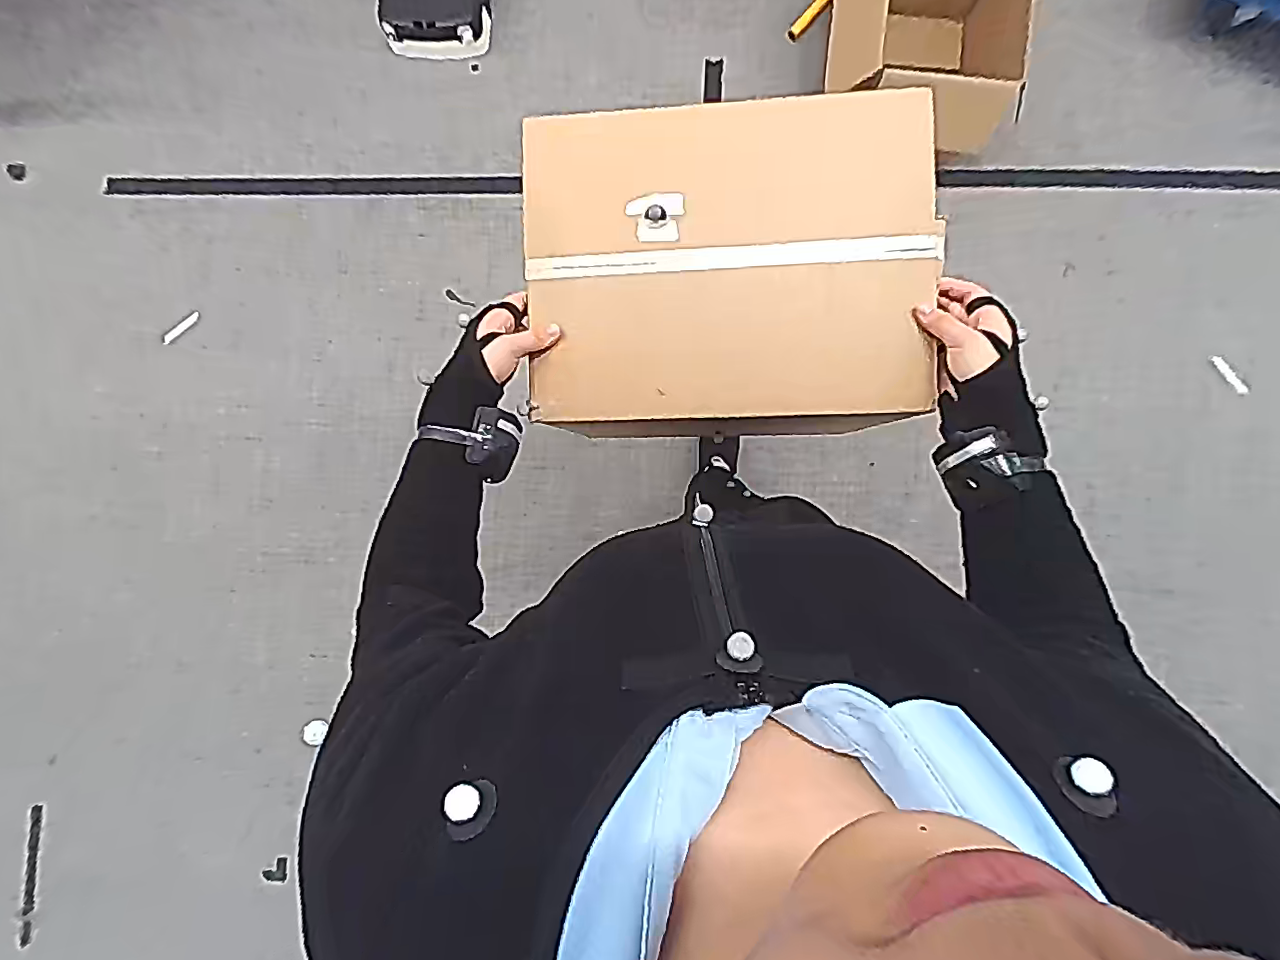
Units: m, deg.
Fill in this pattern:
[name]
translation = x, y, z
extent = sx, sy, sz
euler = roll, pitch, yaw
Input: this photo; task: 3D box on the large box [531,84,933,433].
[large box]
translation = 0.105, -0.230, 0.699
extent = 0.408, 0.320, 0.320
euler = -1, 90, 7
